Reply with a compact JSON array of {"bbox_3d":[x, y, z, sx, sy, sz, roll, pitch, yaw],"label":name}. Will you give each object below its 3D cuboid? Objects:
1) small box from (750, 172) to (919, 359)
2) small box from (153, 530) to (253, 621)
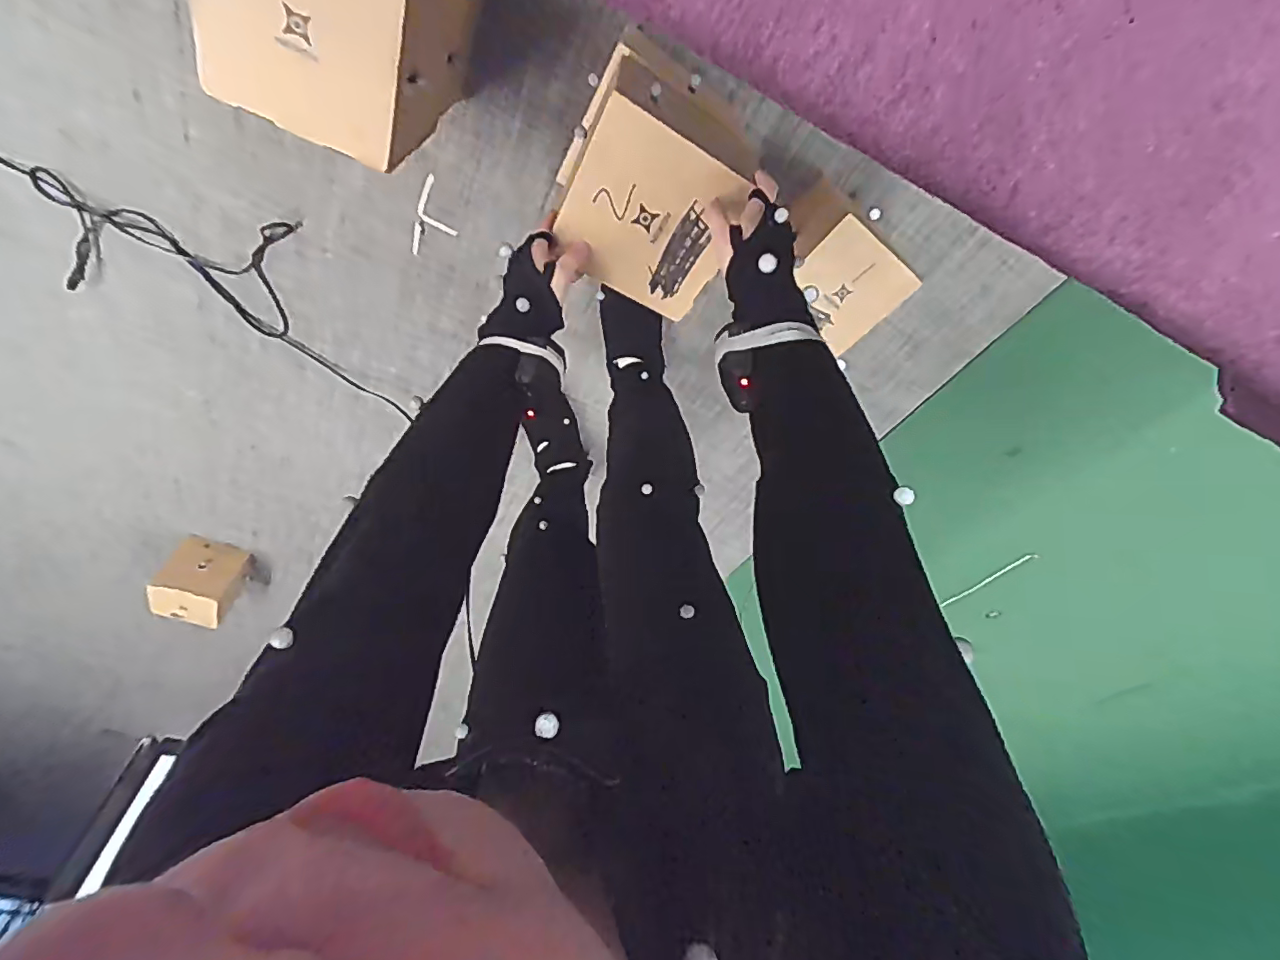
[{"bbox_3d":[0.287,-0.331,0.839,0.168,0.176,0.179,28,130,-24],"label":"small box"},{"bbox_3d":[-1.236,0.269,1.540,0.168,0.176,0.179,24,132,-19],"label":"small box"}]
